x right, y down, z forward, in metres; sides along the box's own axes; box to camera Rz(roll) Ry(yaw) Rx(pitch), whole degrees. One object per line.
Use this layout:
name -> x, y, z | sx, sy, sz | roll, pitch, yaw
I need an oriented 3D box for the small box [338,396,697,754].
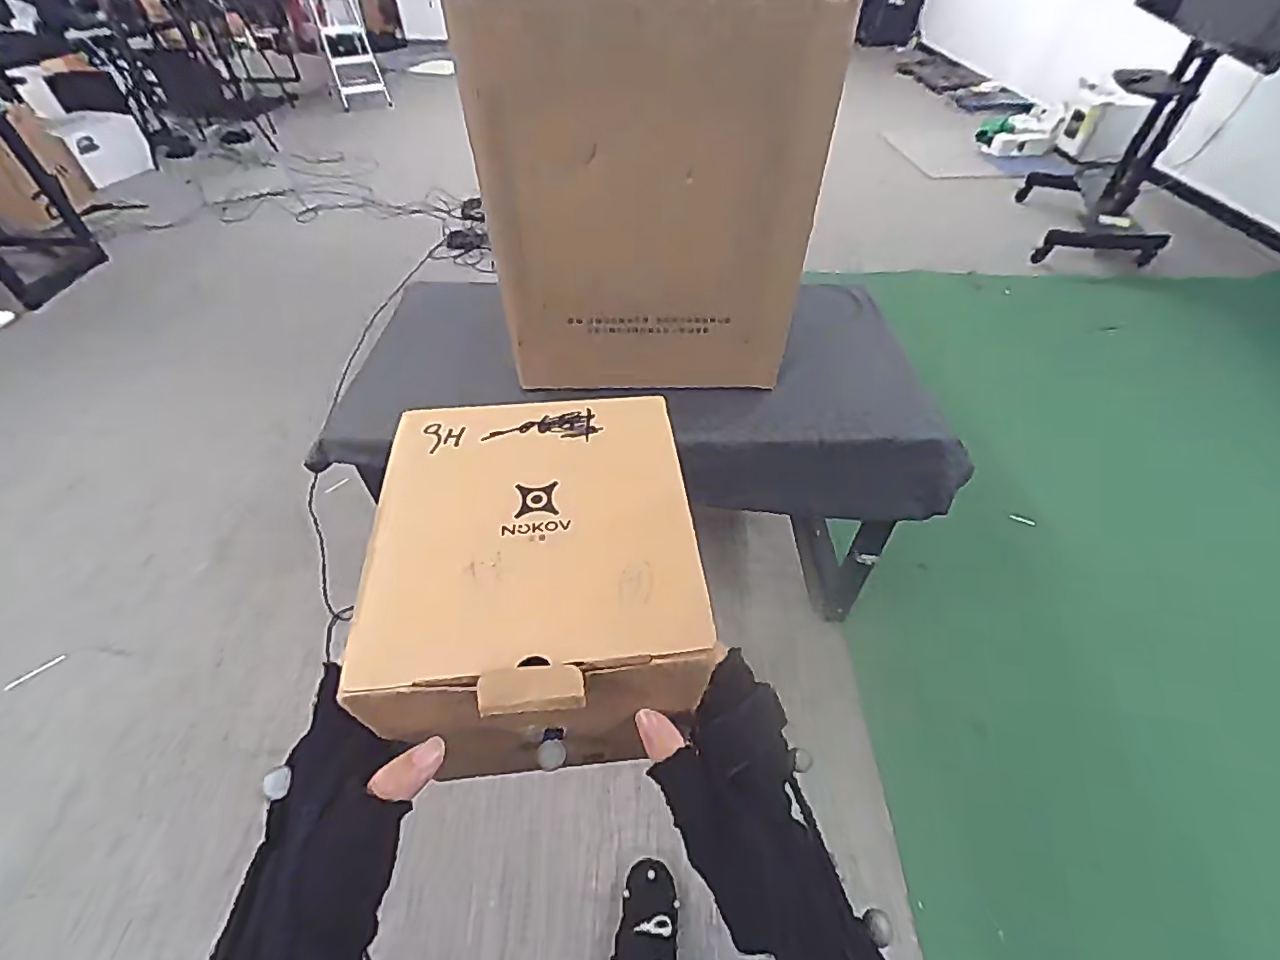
small box -> -0.062, 0.068, 0.355 | 0.168, 0.176, 0.179 | -3, 51, -5
